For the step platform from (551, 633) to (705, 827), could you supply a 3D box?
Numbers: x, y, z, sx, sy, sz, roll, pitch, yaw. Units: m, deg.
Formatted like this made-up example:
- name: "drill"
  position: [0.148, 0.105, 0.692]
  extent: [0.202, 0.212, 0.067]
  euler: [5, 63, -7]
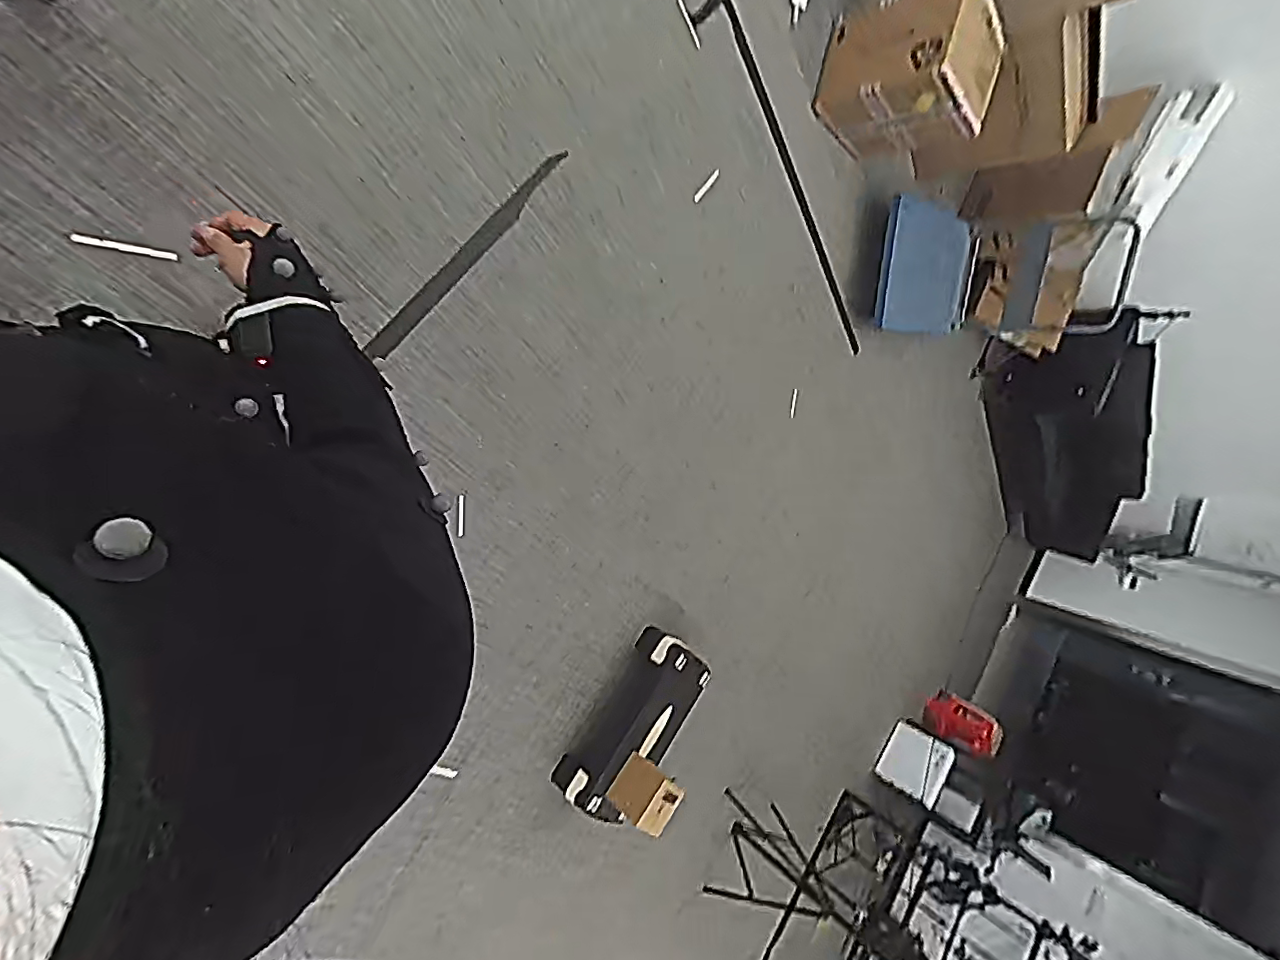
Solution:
- name: "step platform"
  position: [-0.024, 0.952, 2.074]
  extent: [0.684, 0.204, 0.286]
  euler: [-56, 132, -16]
